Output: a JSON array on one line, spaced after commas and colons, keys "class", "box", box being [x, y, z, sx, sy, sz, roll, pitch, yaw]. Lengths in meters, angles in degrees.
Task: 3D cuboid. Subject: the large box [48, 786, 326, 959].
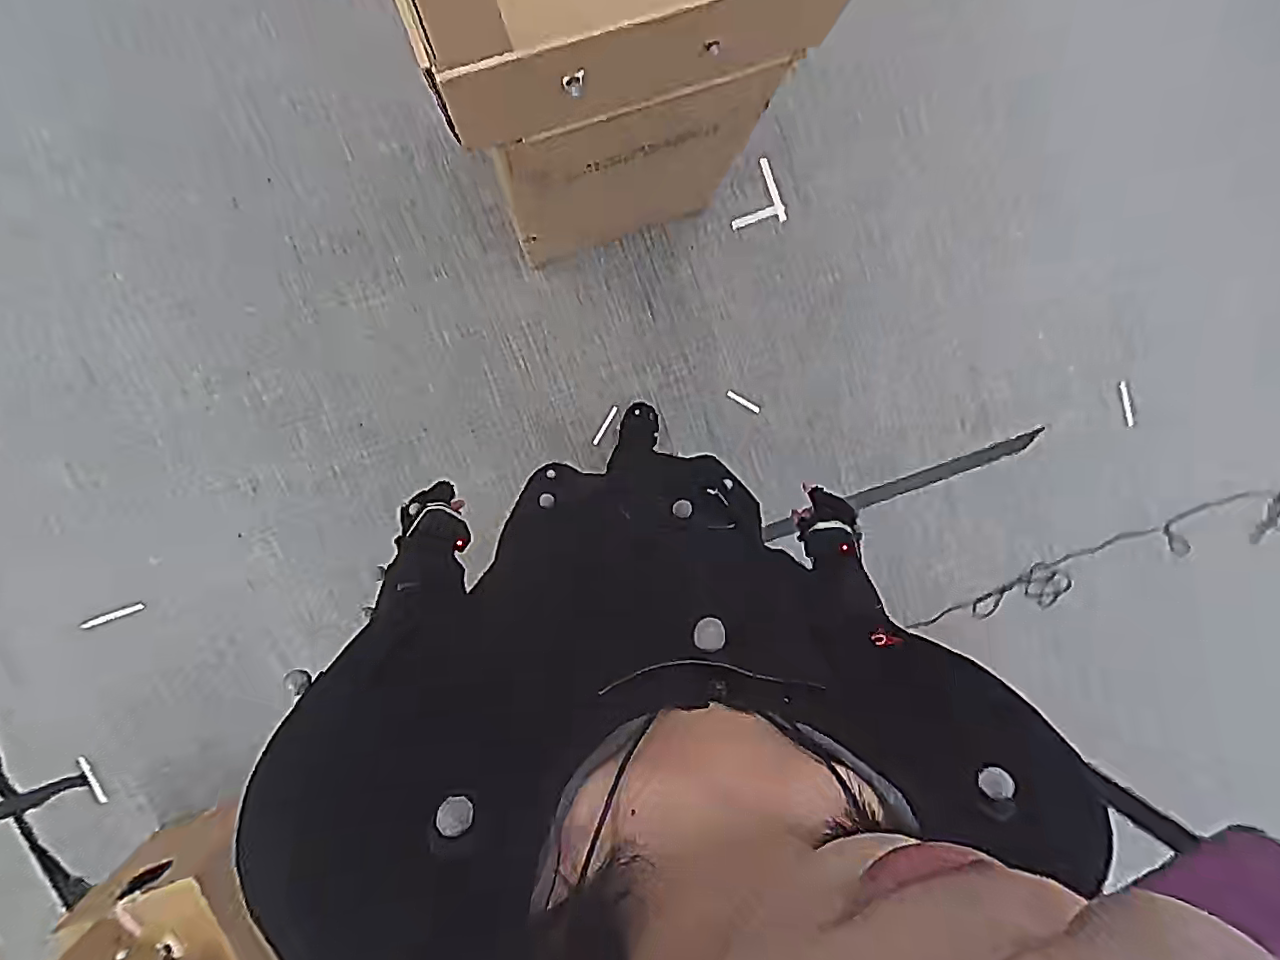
[{"class": "large box", "box": [-1.065, 1.072, 1.330, 0.320, 0.320, 0.408, -21, 96, -5]}]
